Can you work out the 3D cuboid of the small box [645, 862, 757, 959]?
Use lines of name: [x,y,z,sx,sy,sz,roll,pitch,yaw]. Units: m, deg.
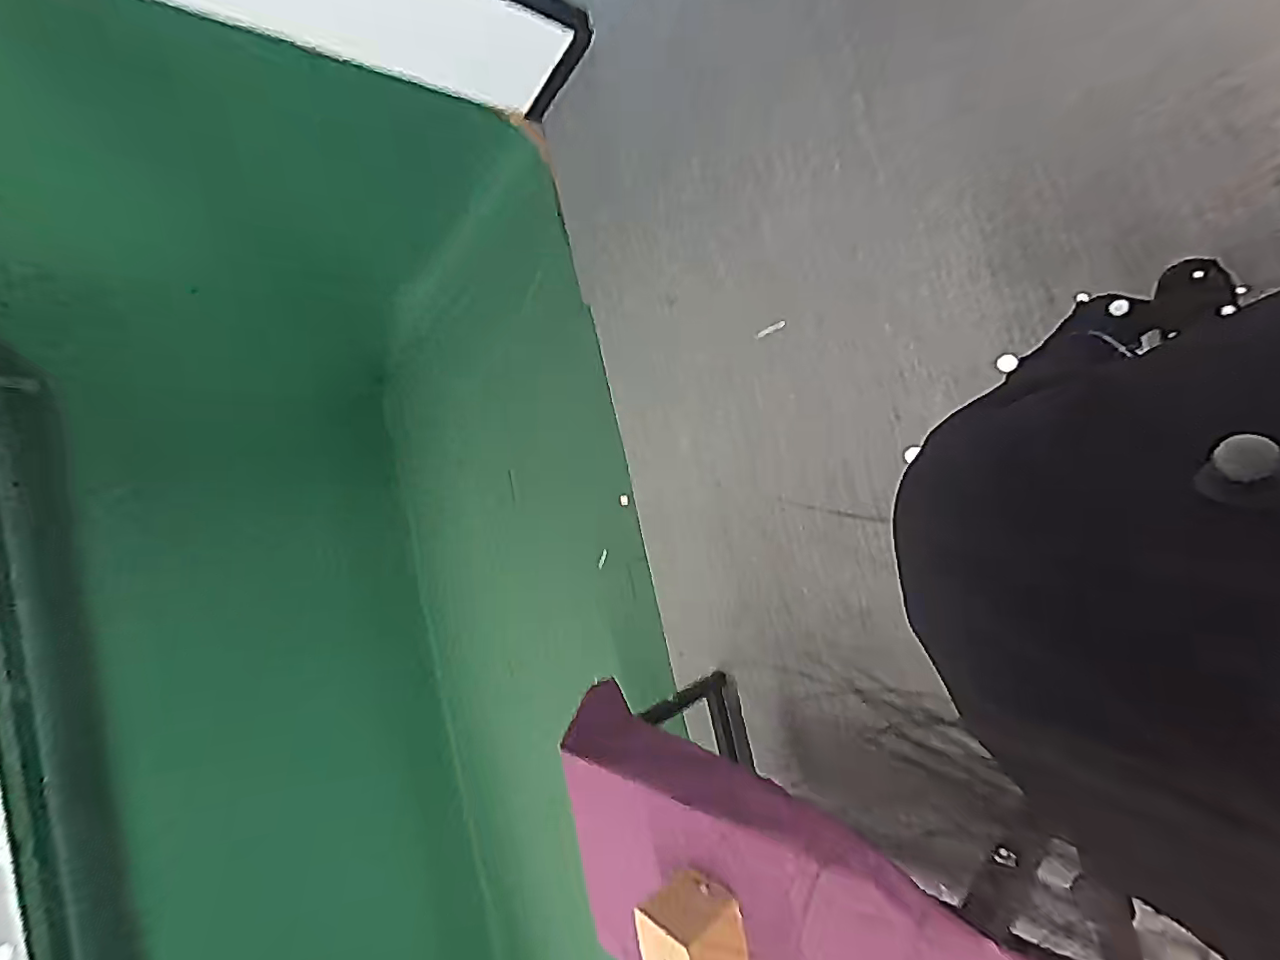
small box: [0.138,0.995,1.180,0.168,0.176,0.179,-7,93,50]
